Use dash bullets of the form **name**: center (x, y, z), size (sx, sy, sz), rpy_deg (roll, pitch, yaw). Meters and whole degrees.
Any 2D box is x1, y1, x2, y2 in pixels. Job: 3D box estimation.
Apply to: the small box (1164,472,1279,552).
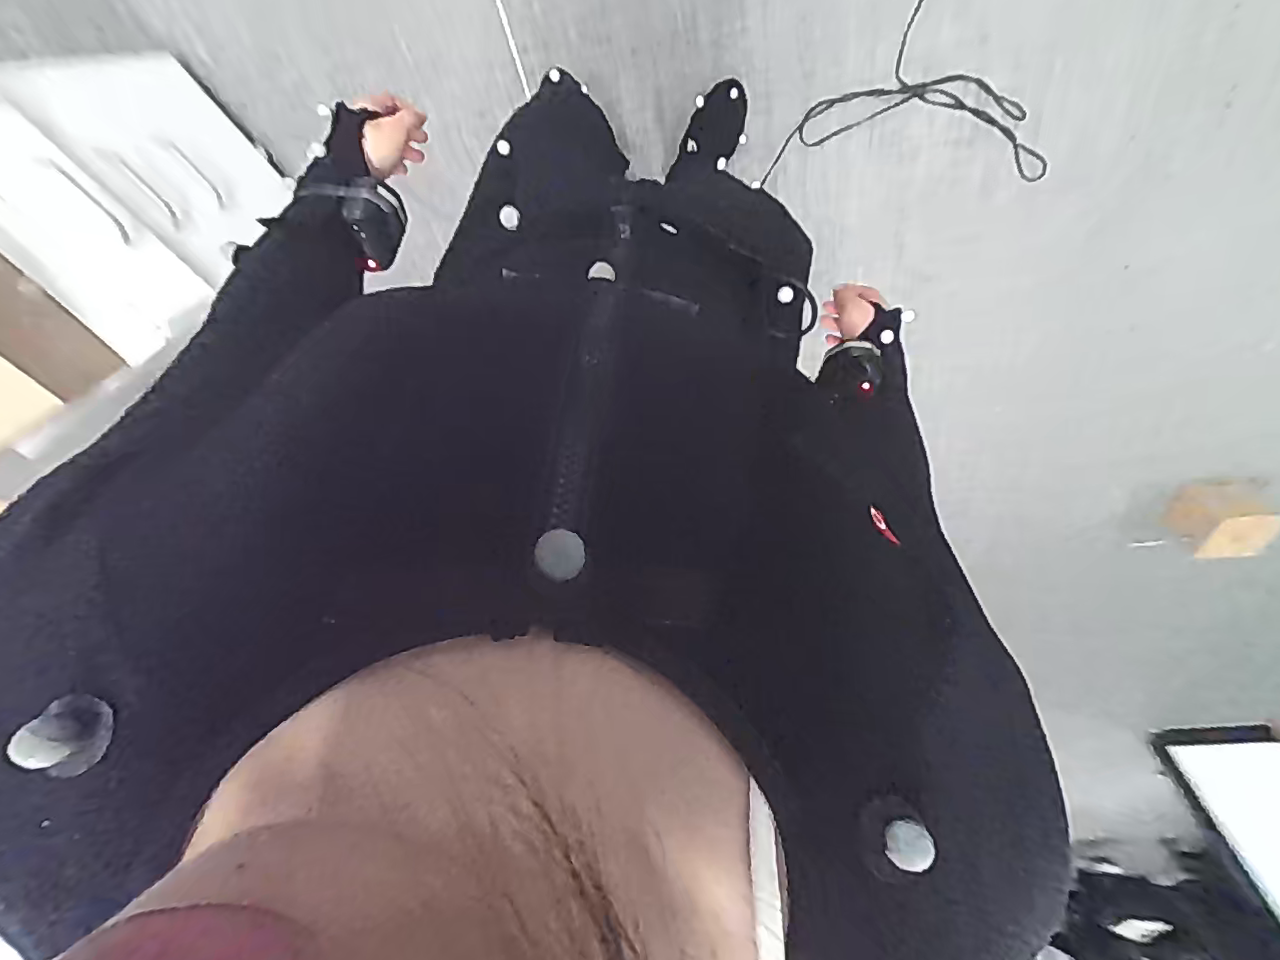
- **small box**: center (1.756, 0.096, 1.636), size (0.168, 0.176, 0.179), rpy_deg (-4, 130, 7)
